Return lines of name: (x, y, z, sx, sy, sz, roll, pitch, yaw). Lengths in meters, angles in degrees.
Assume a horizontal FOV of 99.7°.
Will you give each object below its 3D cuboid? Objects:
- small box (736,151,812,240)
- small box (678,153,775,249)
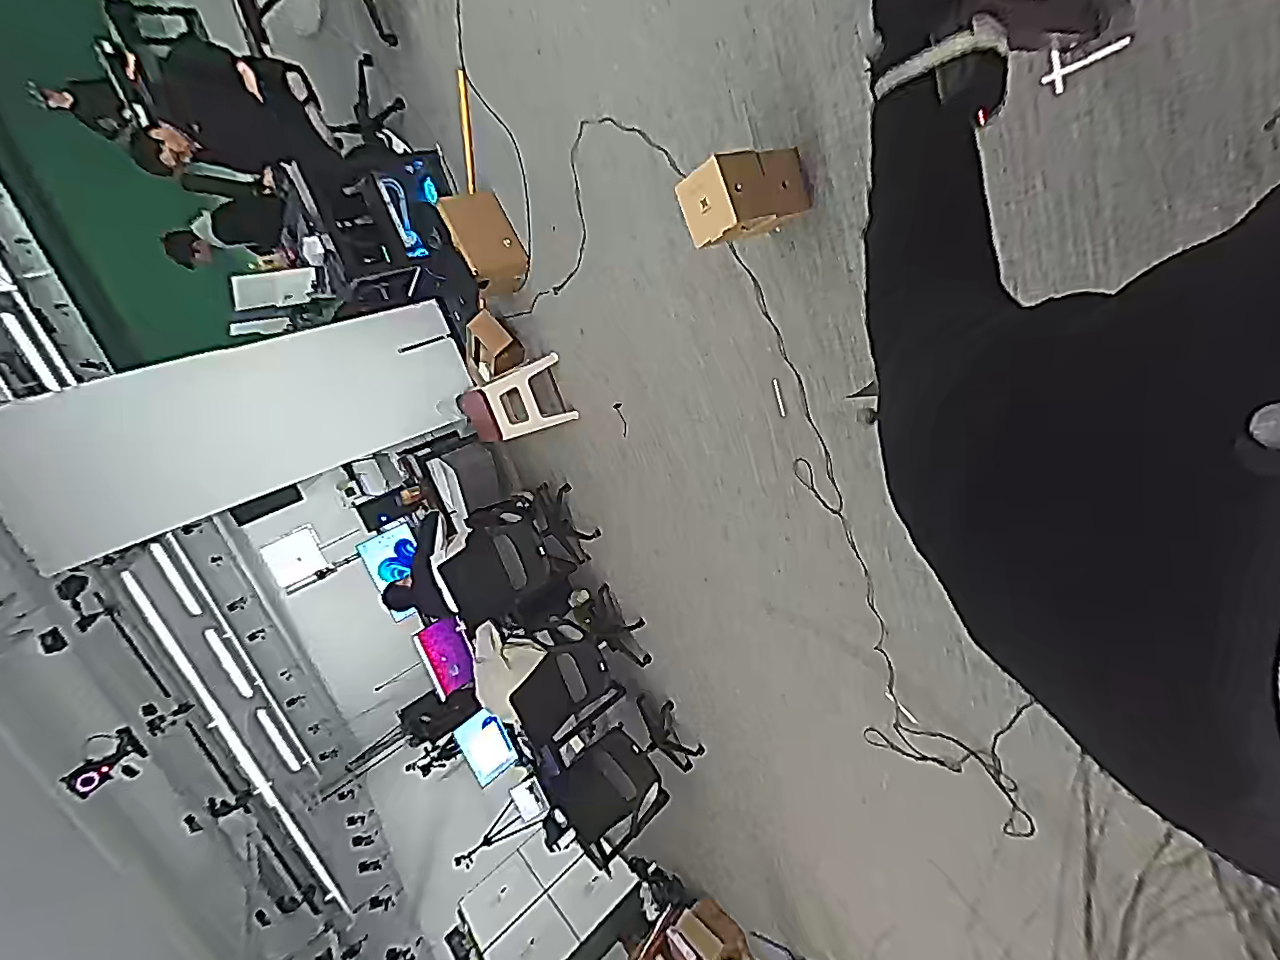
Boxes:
small box: (0.363, -0.818, 1.552, 0.168, 0.176, 0.179, -2, 113, 55)
small box: (0.239, -0.757, 1.467, 0.168, 0.176, 0.179, -8, 106, 55)
